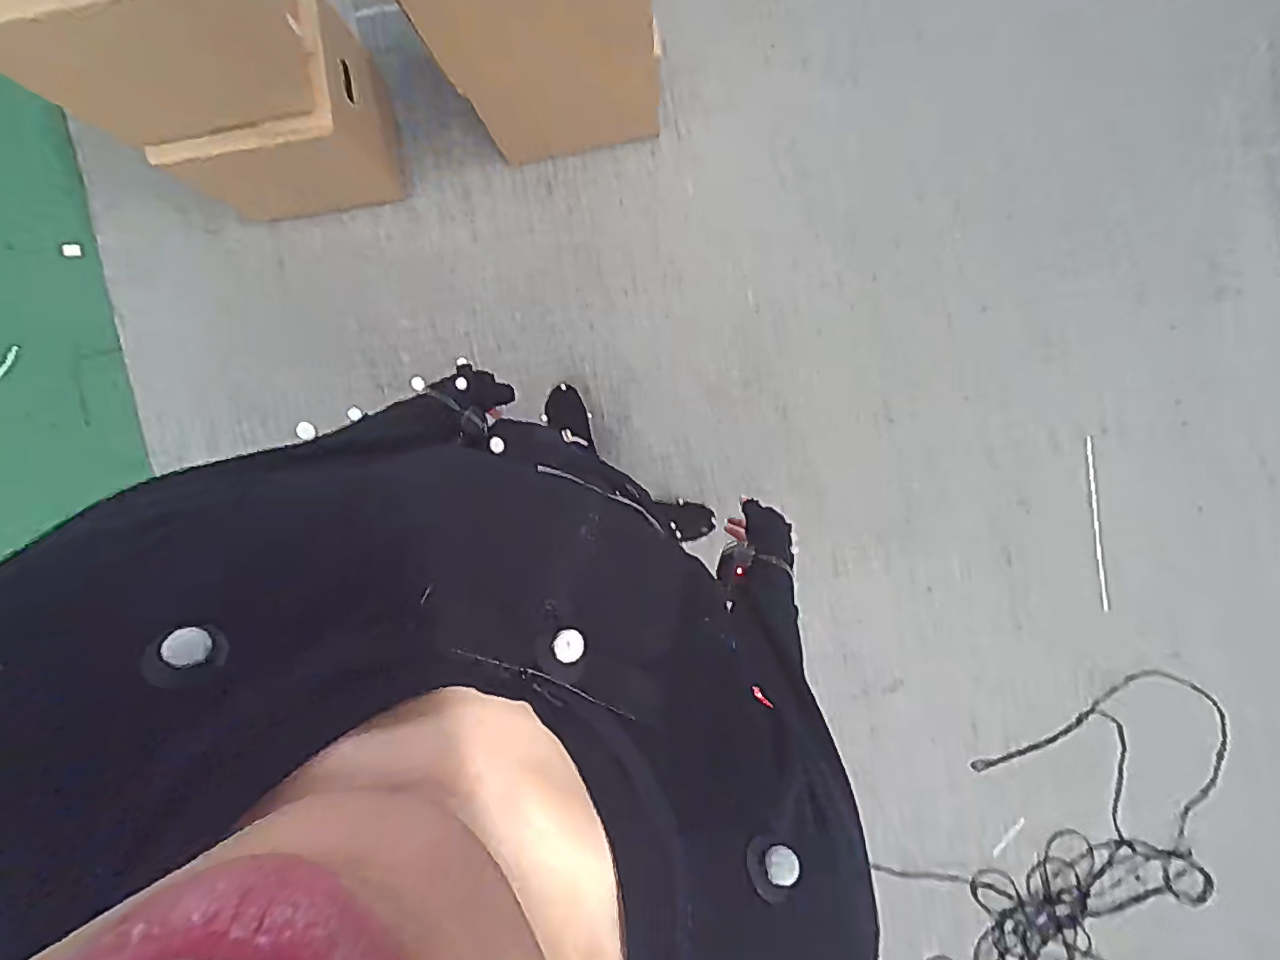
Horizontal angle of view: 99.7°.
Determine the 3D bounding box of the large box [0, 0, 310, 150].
[{"bbox_3d":[-0.884,-0.847,0.946,0.408,0.320,0.320,-9,92,2],"label":"large box"}]
